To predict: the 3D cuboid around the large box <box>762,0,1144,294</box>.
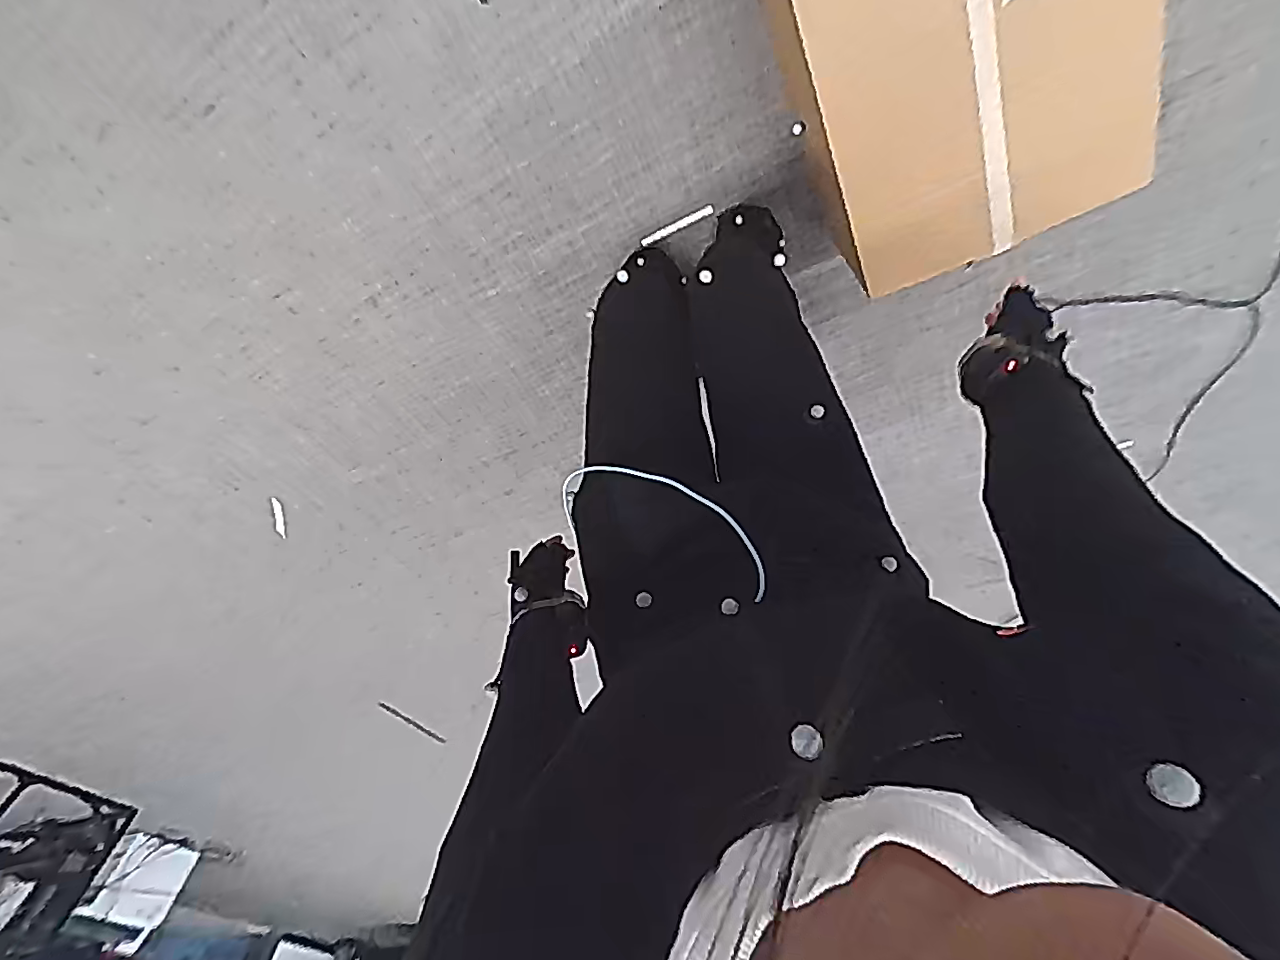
[{"bbox_3d":[0.370,-0.531,0.695,0.320,0.320,0.408,-20,126,20],"label":"large box"}]
